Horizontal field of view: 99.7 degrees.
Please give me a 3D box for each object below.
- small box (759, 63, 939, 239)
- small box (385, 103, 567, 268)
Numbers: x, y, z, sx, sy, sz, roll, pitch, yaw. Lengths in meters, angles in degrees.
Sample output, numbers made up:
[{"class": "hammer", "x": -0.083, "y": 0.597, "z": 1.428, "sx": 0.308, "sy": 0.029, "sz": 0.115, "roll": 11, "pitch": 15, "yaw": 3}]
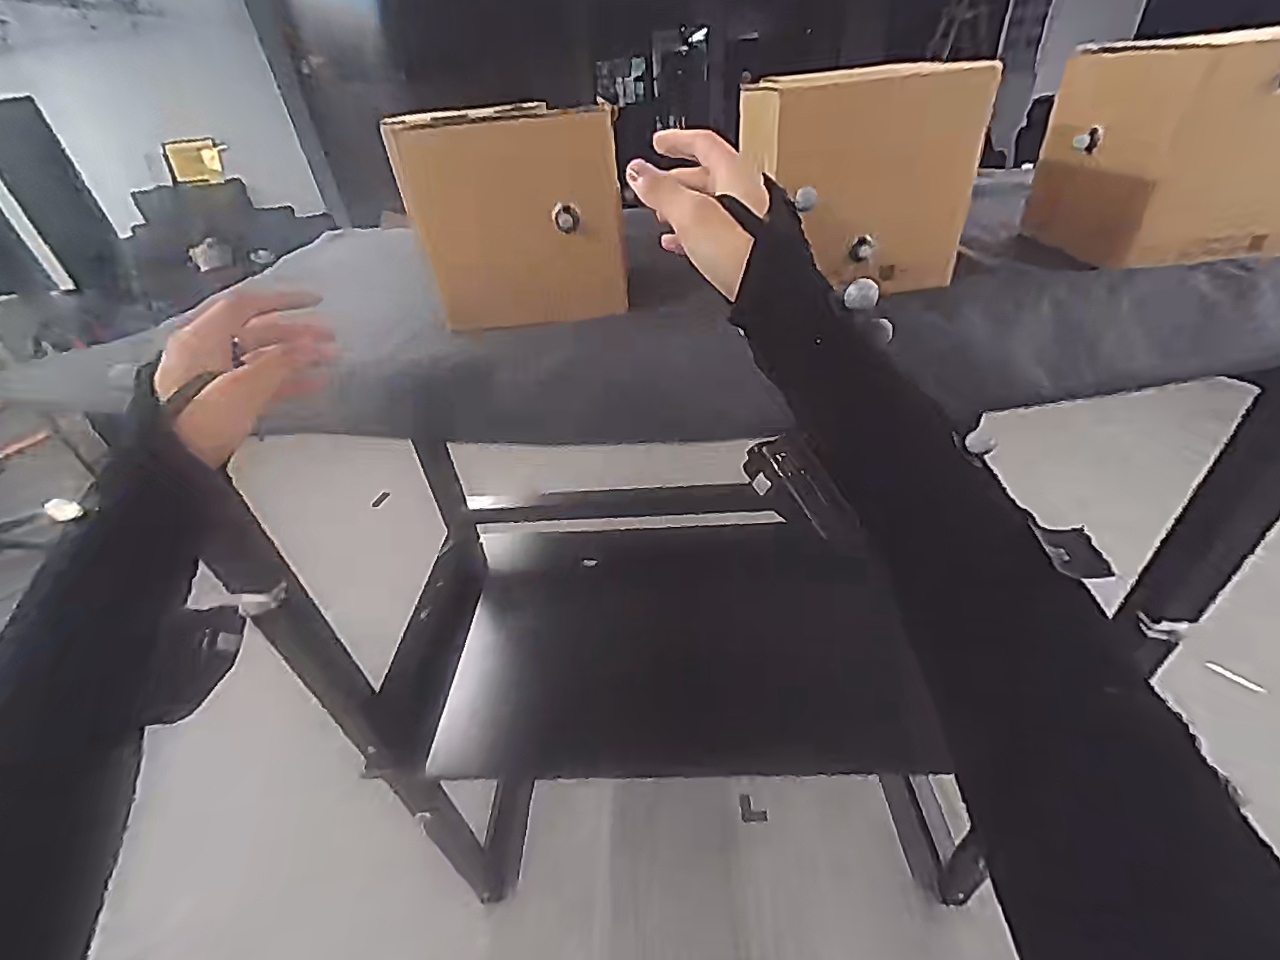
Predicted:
[{"class": "small box", "x": 0.246, "y": -0.416, "z": 0.690, "sx": 0.168, "sy": 0.176, "sz": 0.179, "roll": -3, "pitch": 36, "yaw": 5}, {"class": "small box", "x": -0.199, "y": -0.388, "z": 0.720, "sx": 0.168, "sy": 0.176, "sz": 0.179, "roll": -3, "pitch": 36, "yaw": 4}]
